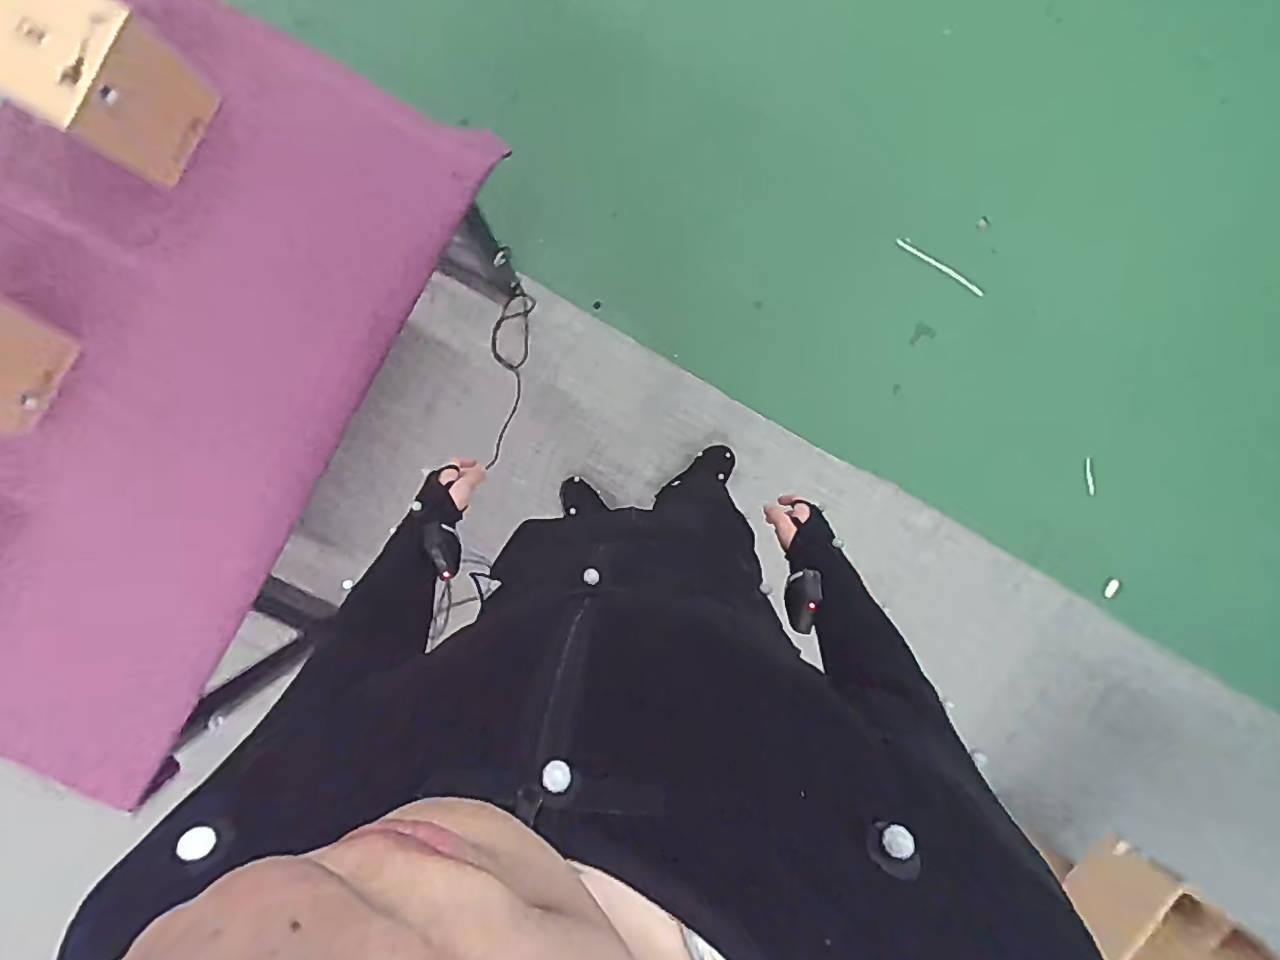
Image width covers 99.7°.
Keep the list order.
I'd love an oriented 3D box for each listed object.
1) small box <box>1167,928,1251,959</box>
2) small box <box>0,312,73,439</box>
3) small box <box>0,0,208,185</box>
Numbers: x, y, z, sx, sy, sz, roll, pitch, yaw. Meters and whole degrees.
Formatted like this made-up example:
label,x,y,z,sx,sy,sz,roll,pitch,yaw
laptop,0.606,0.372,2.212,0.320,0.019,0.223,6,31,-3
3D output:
label,x,y,z,sx,sy,sz,roll,pitch,yaw
small box,1.299,1.133,1.168,0.179,0.176,0.168,32,91,-6
small box,-0.968,-0.160,0.739,0.179,0.176,0.168,31,92,-7
small box,-0.749,-0.537,0.723,0.179,0.176,0.168,29,93,-6
